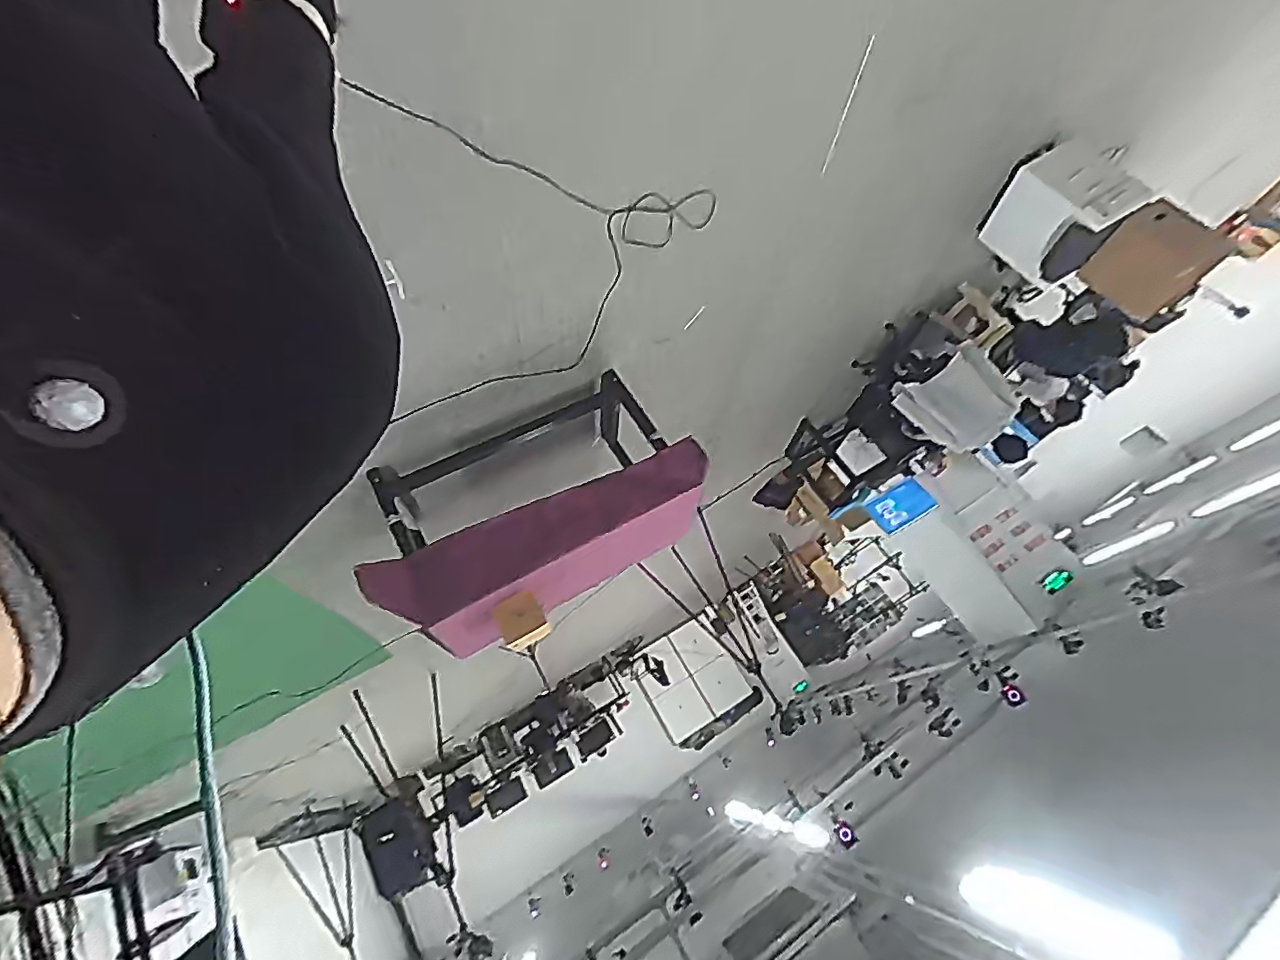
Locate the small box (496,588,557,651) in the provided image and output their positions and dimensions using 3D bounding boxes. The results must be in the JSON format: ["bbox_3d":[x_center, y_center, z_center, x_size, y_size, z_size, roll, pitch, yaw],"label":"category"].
[{"bbox_3d":[-0.454,0.556,2.168,0.179,0.176,0.168,-28,157,-15],"label":"small box"}]
